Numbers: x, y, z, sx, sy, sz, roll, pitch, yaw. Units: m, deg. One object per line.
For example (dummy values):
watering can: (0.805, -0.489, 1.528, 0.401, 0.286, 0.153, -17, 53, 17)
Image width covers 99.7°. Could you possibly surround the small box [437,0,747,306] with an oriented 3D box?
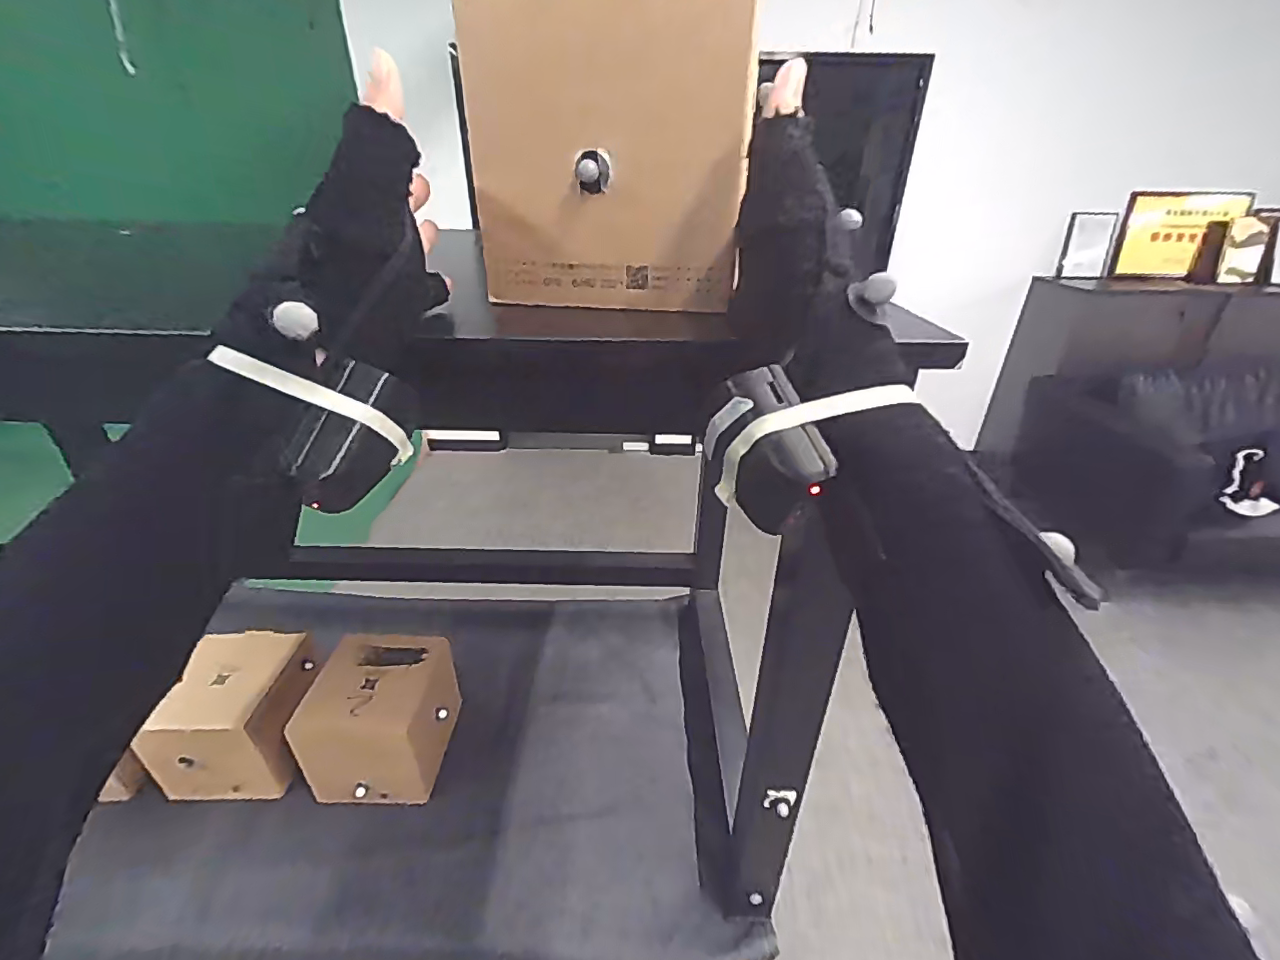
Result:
small box: (-0.015, -0.228, 0.390, 0.168, 0.176, 0.179, 6, 30, 9)
